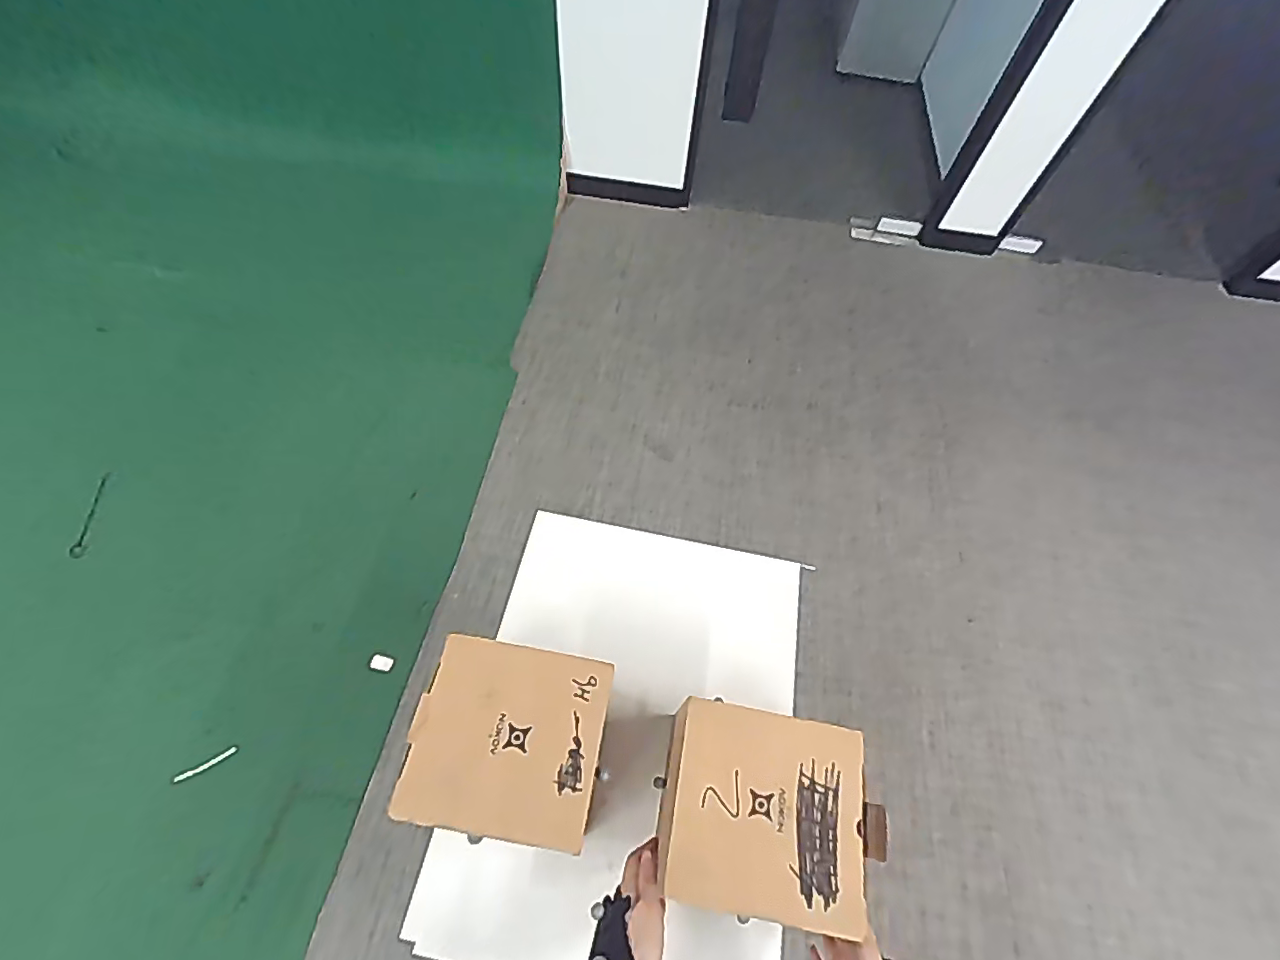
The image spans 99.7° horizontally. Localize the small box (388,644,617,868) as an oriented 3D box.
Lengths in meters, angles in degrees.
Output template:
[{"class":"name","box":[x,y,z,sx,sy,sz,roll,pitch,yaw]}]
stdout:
[{"class":"small box","box":[-0.128,0.291,0.577,0.179,0.176,0.168,11,60,1]}]
